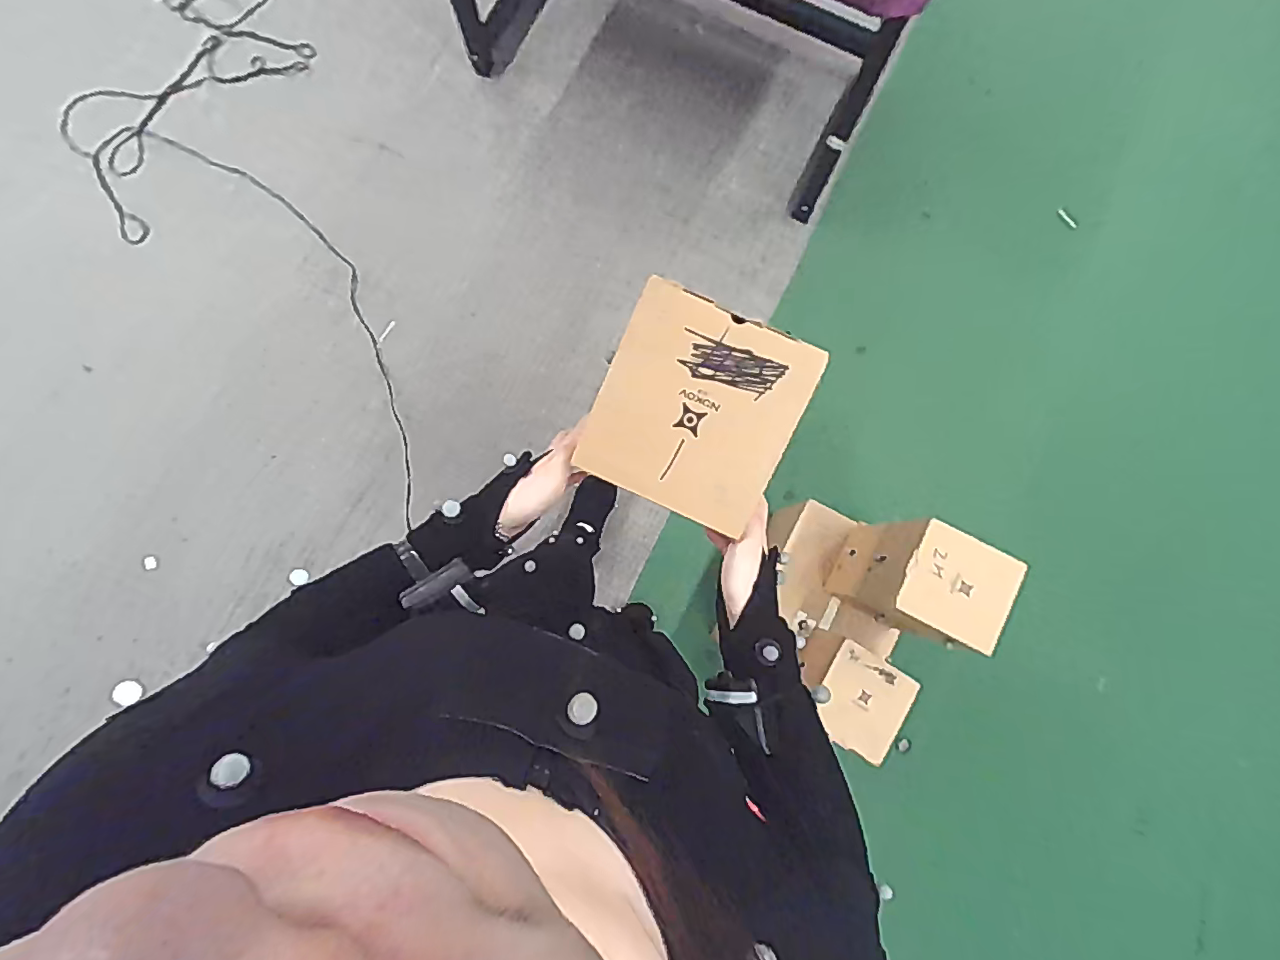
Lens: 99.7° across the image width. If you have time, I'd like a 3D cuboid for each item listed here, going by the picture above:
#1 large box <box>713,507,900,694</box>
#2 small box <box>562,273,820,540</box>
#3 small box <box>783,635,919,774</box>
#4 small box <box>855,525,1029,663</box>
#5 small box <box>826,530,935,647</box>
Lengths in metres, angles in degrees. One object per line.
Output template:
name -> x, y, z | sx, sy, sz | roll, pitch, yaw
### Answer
large box -> 0.421, 0.320, 1.340 | 0.320, 0.320, 0.408 | 28, 83, 4
small box -> 0.045, -0.069, 0.527 | 0.168, 0.176, 0.179 | 24, 99, 1
small box -> 0.404, 0.433, 1.075 | 0.168, 0.176, 0.179 | 34, 82, 3
small box -> 0.517, 0.192, 0.949 | 0.179, 0.176, 0.168 | 28, 82, 4
small box -> 0.519, 0.215, 1.112 | 0.179, 0.176, 0.168 | 29, 83, 4
